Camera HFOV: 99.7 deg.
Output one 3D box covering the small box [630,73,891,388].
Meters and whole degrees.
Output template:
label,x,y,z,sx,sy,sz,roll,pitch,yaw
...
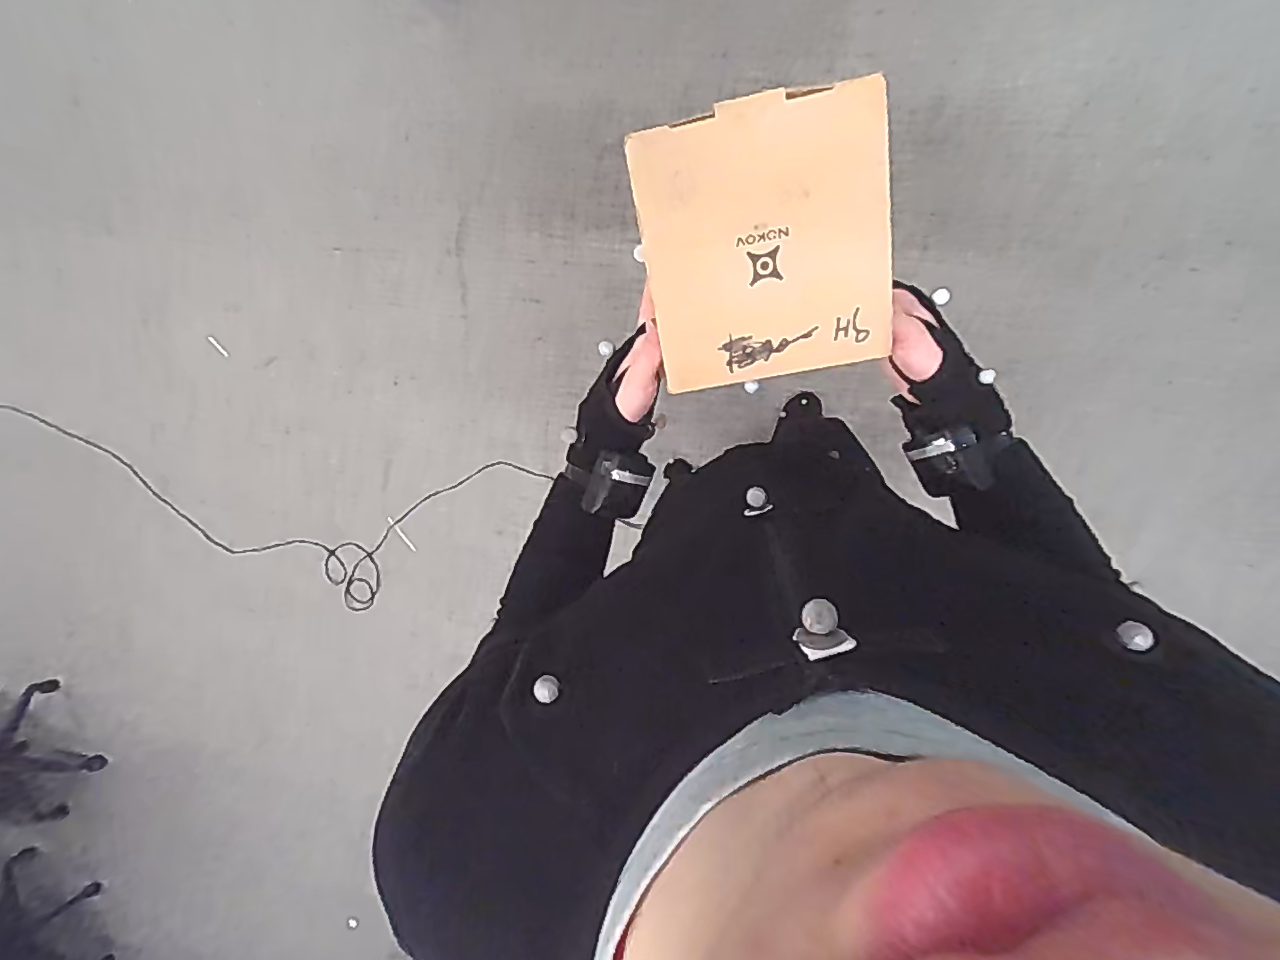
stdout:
label,x,y,z,sx,sy,sz,roll,pitch,yaw
small box,0.093,-0.190,0.444,0.168,0.176,0.179,-8,113,10
